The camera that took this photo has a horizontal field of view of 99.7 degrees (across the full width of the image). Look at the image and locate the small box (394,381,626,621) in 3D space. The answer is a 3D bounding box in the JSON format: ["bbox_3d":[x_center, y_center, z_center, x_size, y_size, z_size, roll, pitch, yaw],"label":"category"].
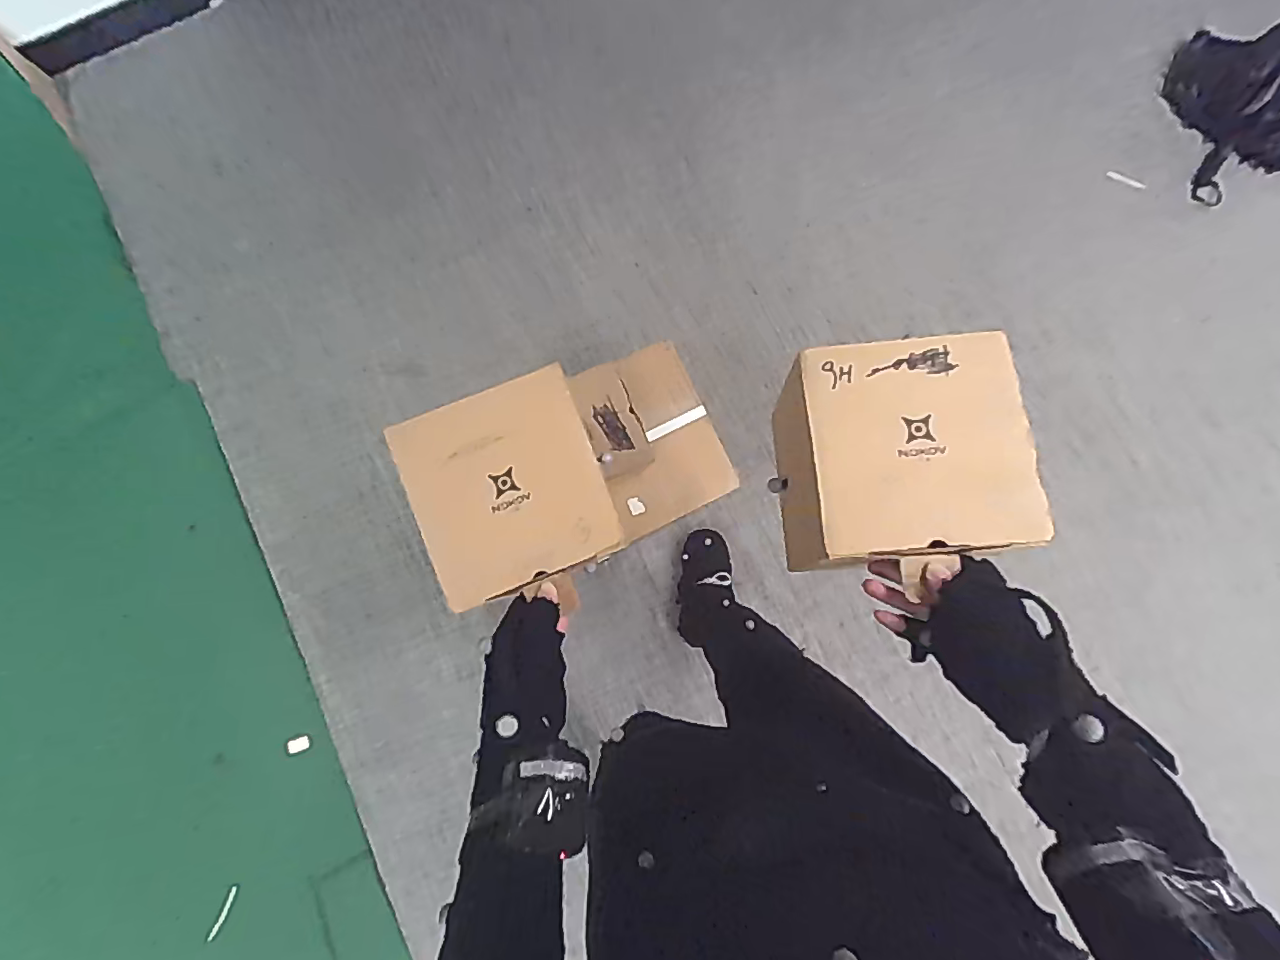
[{"bbox_3d":[-0.117,0.022,0.565,0.168,0.176,0.179,-23,86,-3],"label":"small box"}]

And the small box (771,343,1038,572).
[{"bbox_3d":[0.223,-0.005,0.508,0.168,0.176,0.179,-5,77,5],"label":"small box"}]

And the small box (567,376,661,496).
[{"bbox_3d":[-0.083,-0.049,0.894,0.179,0.176,0.168,-27,89,-3],"label":"small box"}]
